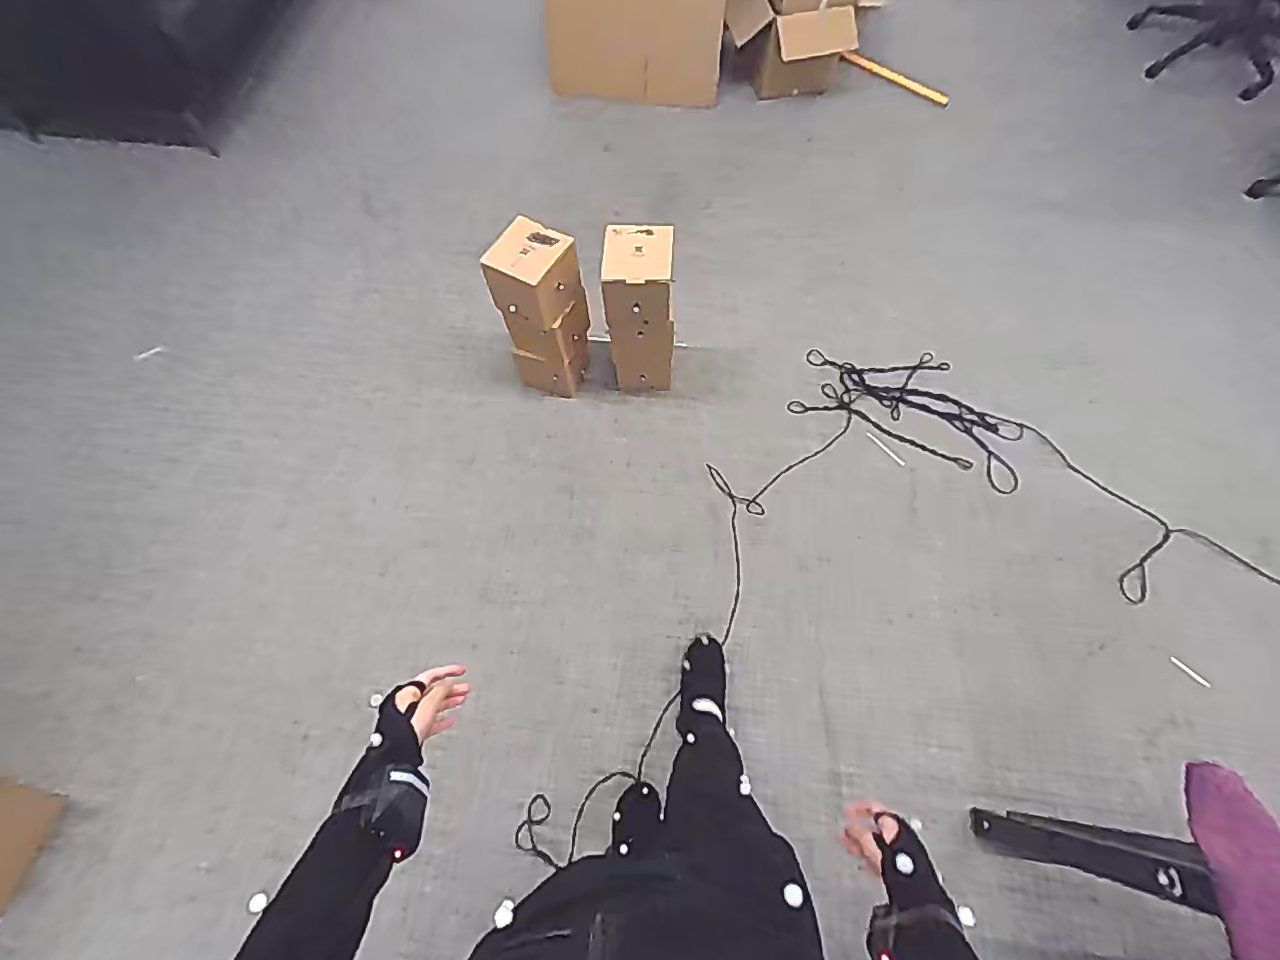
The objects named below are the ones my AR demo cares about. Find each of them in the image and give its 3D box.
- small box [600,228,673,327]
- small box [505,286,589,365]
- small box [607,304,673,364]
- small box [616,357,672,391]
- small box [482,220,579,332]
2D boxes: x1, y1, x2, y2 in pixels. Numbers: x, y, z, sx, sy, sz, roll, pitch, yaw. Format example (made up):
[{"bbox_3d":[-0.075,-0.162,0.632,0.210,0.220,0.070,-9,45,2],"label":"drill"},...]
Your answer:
[{"bbox_3d":[-0.003,-0.503,1.359,0.168,0.176,0.179,3,68,4],"label":"small box"},{"bbox_3d":[-0.260,-0.453,1.528,0.179,0.176,0.168,23,68,11],"label":"small box"},{"bbox_3d":[0.001,-0.441,1.510,0.179,0.176,0.168,-5,66,1],"label":"small box"},{"bbox_3d":[0.015,-0.385,1.663,0.168,0.176,0.179,-1,65,2],"label":"small box"},{"bbox_3d":[-0.268,-0.515,1.376,0.168,0.176,0.179,27,69,13],"label":"small box"}]
